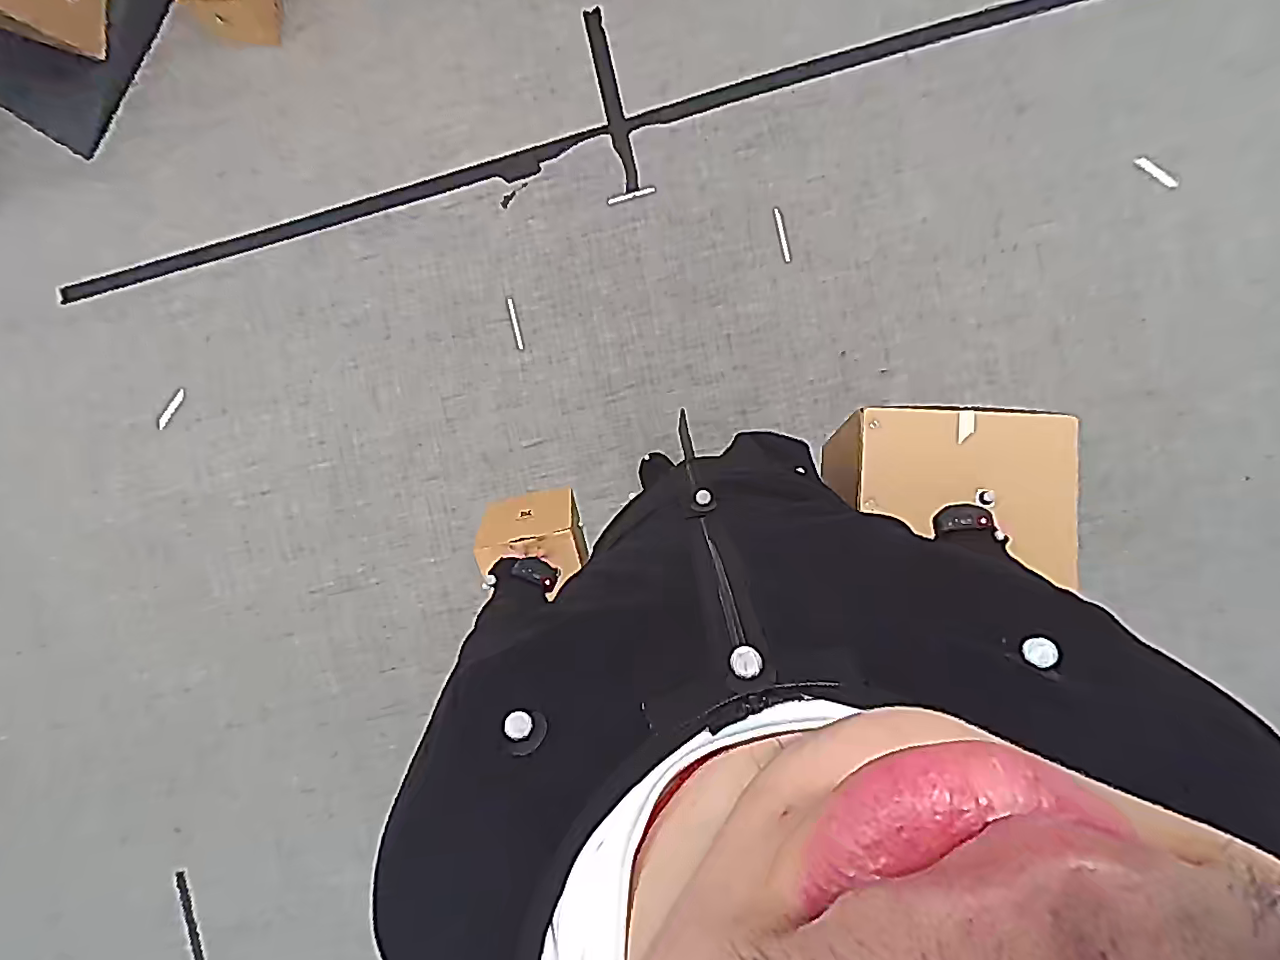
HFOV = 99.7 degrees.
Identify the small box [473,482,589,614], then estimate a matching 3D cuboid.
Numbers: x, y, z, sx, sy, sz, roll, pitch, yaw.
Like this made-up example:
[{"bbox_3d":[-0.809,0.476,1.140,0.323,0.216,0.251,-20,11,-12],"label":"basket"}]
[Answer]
[{"bbox_3d":[-0.191,0.129,1.001,0.168,0.179,0.176,-11,117,-2],"label":"small box"}]
